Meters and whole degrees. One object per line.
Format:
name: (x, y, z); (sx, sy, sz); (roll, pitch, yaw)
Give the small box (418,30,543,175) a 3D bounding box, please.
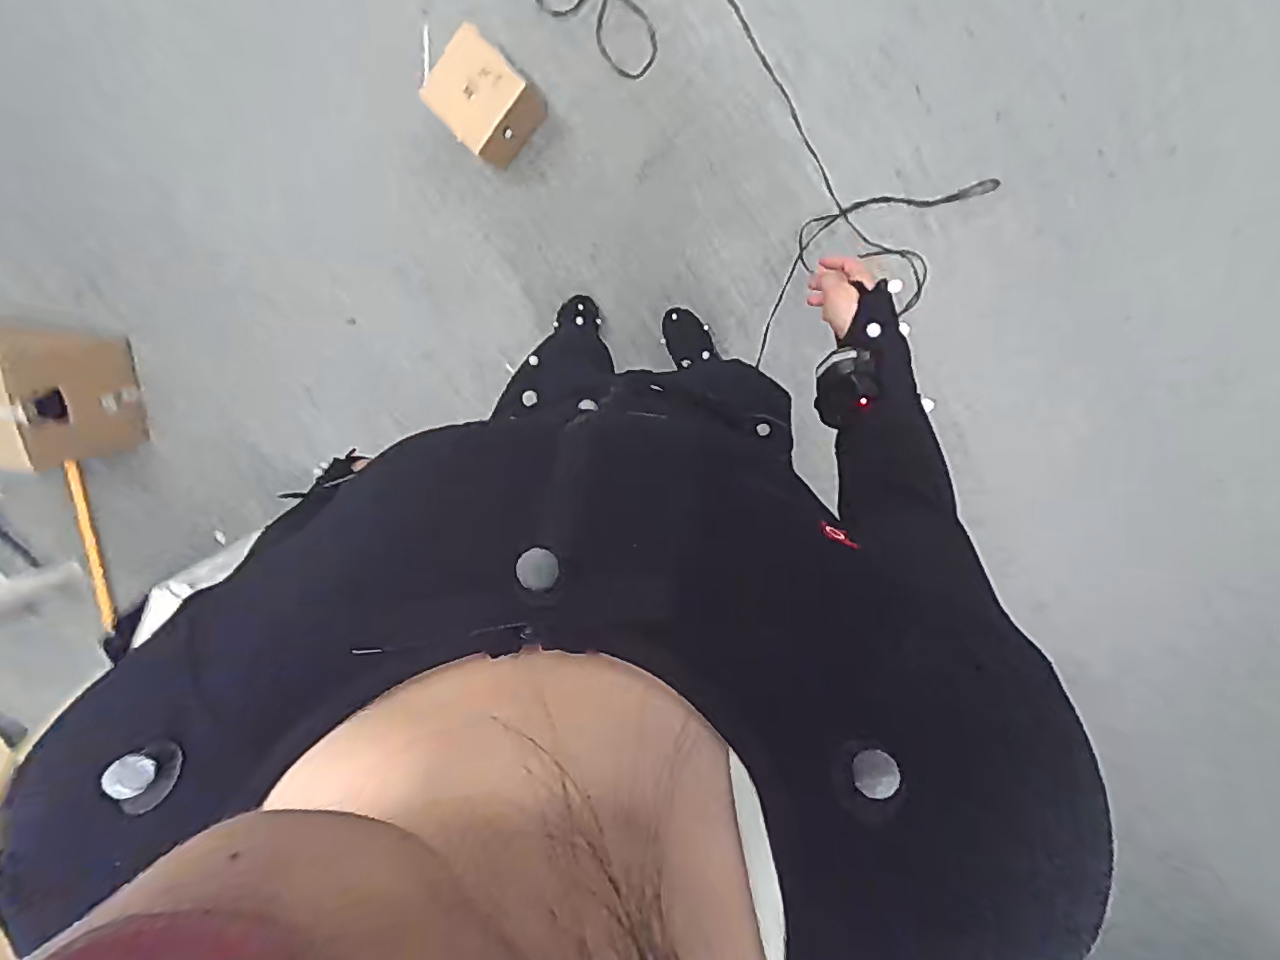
small box: (-0.339, -0.809, 1.186); (0.168, 0.176, 0.179); (43, 108, -9)
